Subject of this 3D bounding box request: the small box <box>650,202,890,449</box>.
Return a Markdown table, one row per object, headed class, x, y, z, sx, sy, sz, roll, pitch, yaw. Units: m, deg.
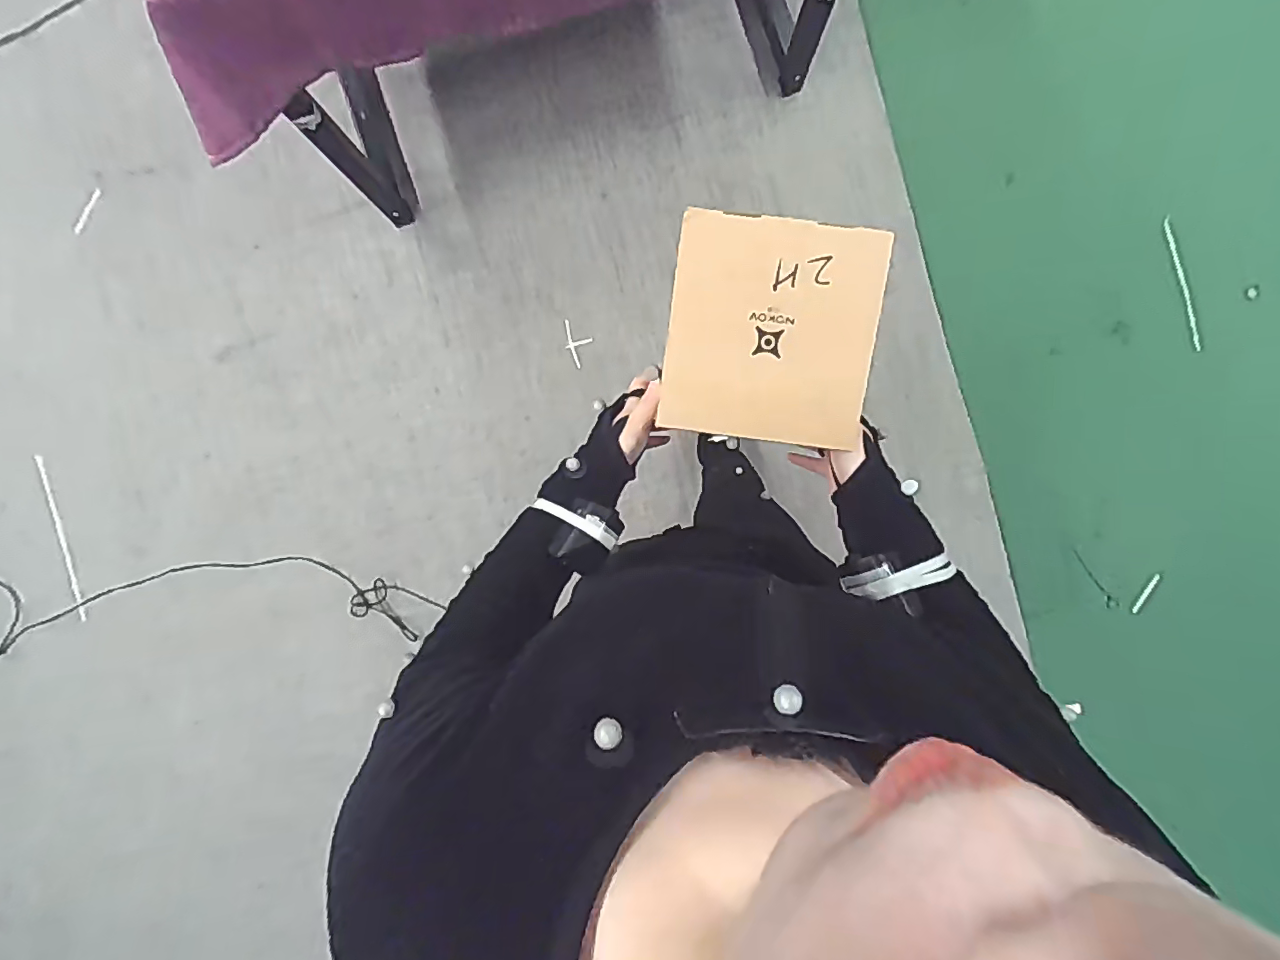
| class | x | y | z | sx | sy | sz | roll | pitch | yaw |
| --- | --- | --- | --- | --- | --- | --- | --- | --- | --- |
| small box | 0.107 | -0.132 | 0.510 | 0.168 | 0.176 | 0.179 | 8 | 98 | 3 |
